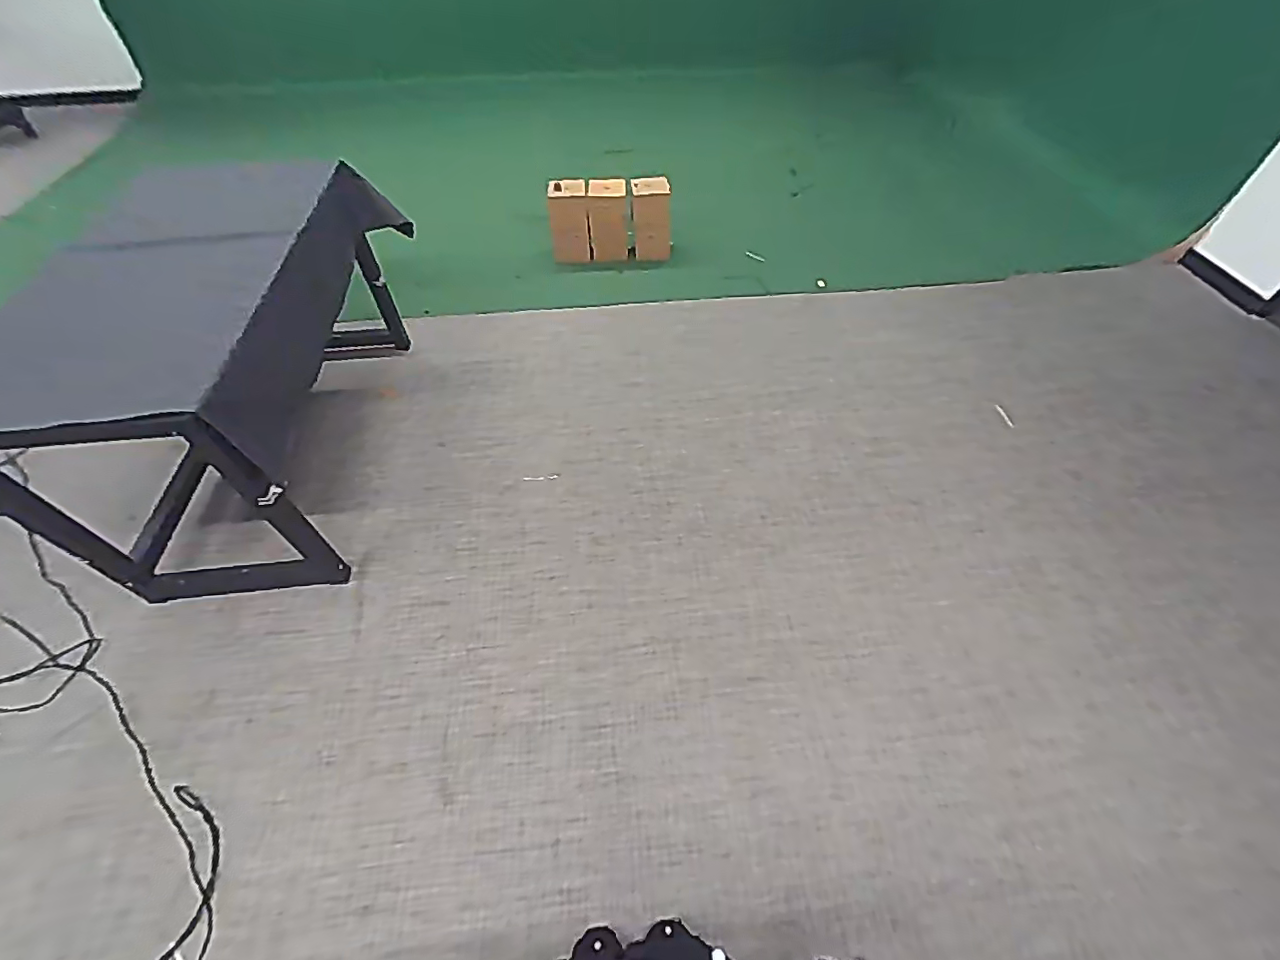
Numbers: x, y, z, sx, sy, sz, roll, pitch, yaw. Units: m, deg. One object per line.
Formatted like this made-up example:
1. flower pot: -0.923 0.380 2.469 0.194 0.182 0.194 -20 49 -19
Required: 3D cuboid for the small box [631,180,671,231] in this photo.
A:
1. small box: 0.050 -1.321 2.608 0.179 0.176 0.168 -4 52 -4
